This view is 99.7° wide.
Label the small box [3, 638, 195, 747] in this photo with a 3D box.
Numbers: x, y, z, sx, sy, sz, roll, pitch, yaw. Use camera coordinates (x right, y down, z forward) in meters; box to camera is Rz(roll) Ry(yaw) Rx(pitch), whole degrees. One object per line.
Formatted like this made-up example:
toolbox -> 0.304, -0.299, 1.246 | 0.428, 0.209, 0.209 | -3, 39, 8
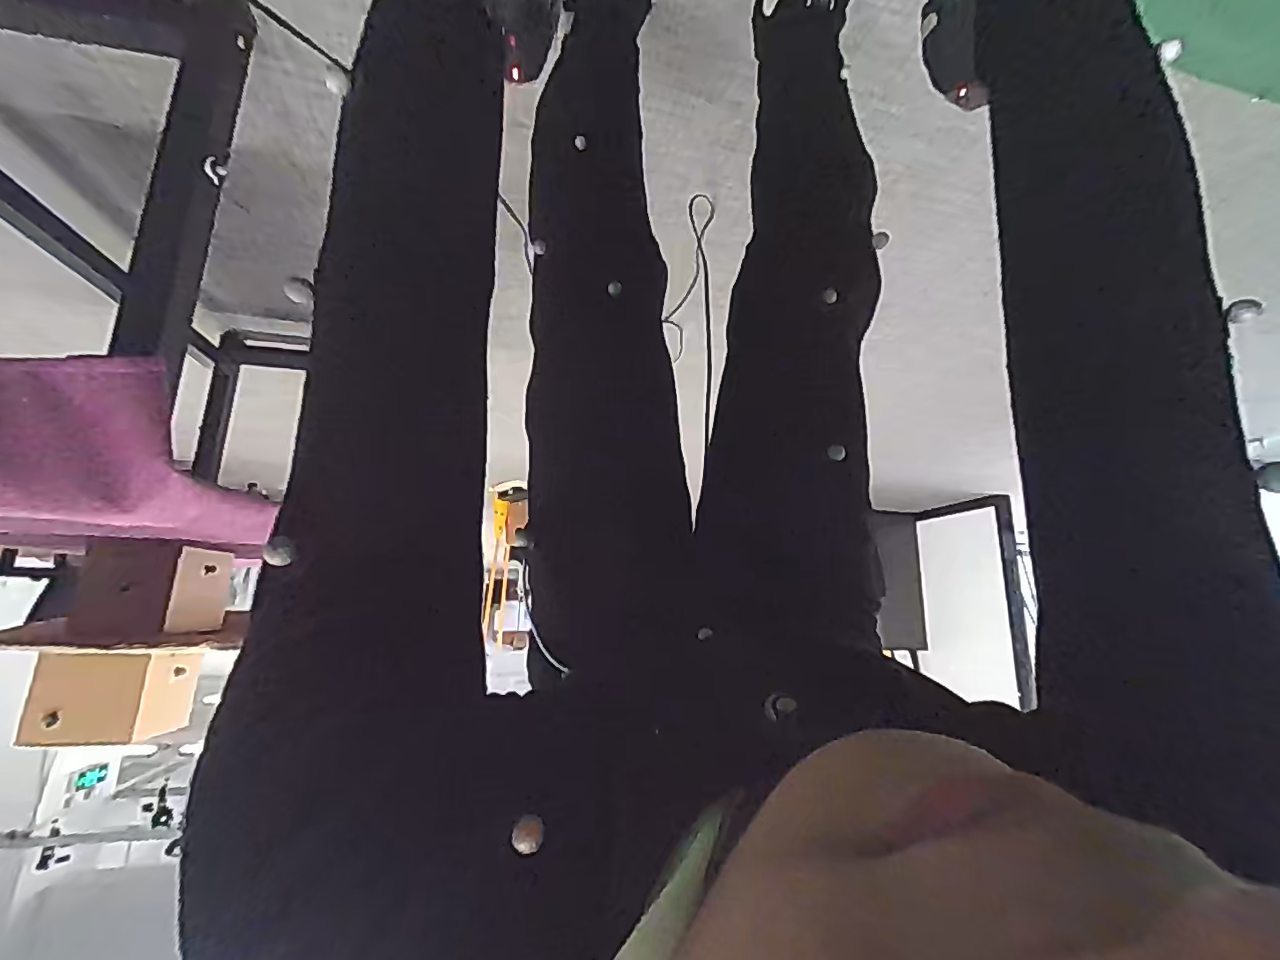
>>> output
small box -> -0.972, 0.380, 0.993 | 0.179, 0.176, 0.168 | 4, 166, -11
